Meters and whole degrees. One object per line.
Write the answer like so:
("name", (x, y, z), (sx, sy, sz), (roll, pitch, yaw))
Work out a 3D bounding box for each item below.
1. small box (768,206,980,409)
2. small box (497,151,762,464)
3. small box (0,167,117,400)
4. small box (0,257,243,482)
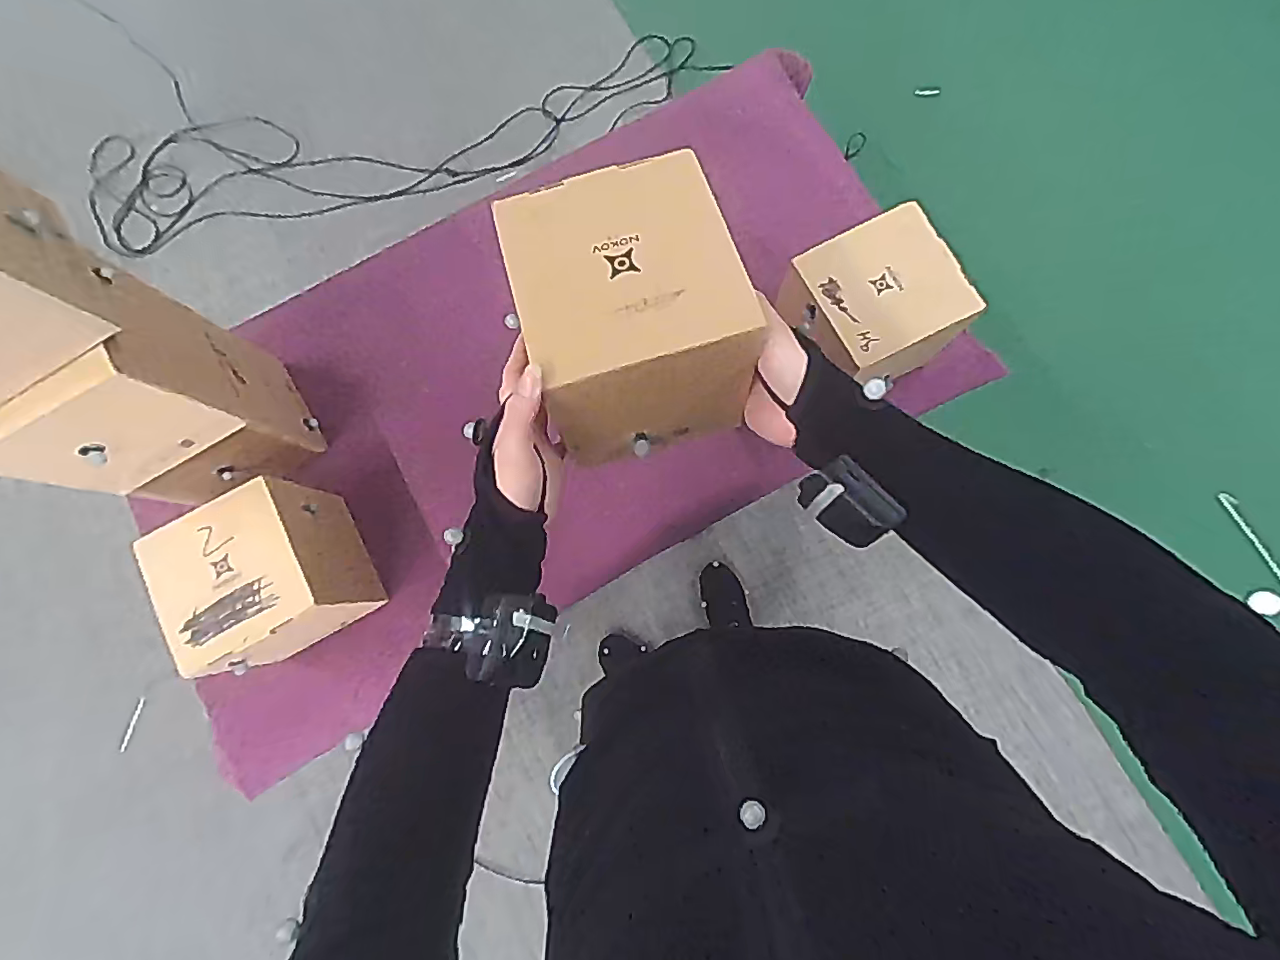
("small box", (0.299, -0.221, 0.734), (0.179, 0.176, 0.168), (-26, 79, -3))
("small box", (-0.010, -0.137, 0.474), (0.168, 0.176, 0.179), (-16, 71, -1))
("small box", (-0.585, -0.169, 0.418), (0.179, 0.176, 0.168), (-35, 81, -5))
("small box", (-0.578, -0.111, 0.574), (0.168, 0.176, 0.179), (-32, 80, -4))
